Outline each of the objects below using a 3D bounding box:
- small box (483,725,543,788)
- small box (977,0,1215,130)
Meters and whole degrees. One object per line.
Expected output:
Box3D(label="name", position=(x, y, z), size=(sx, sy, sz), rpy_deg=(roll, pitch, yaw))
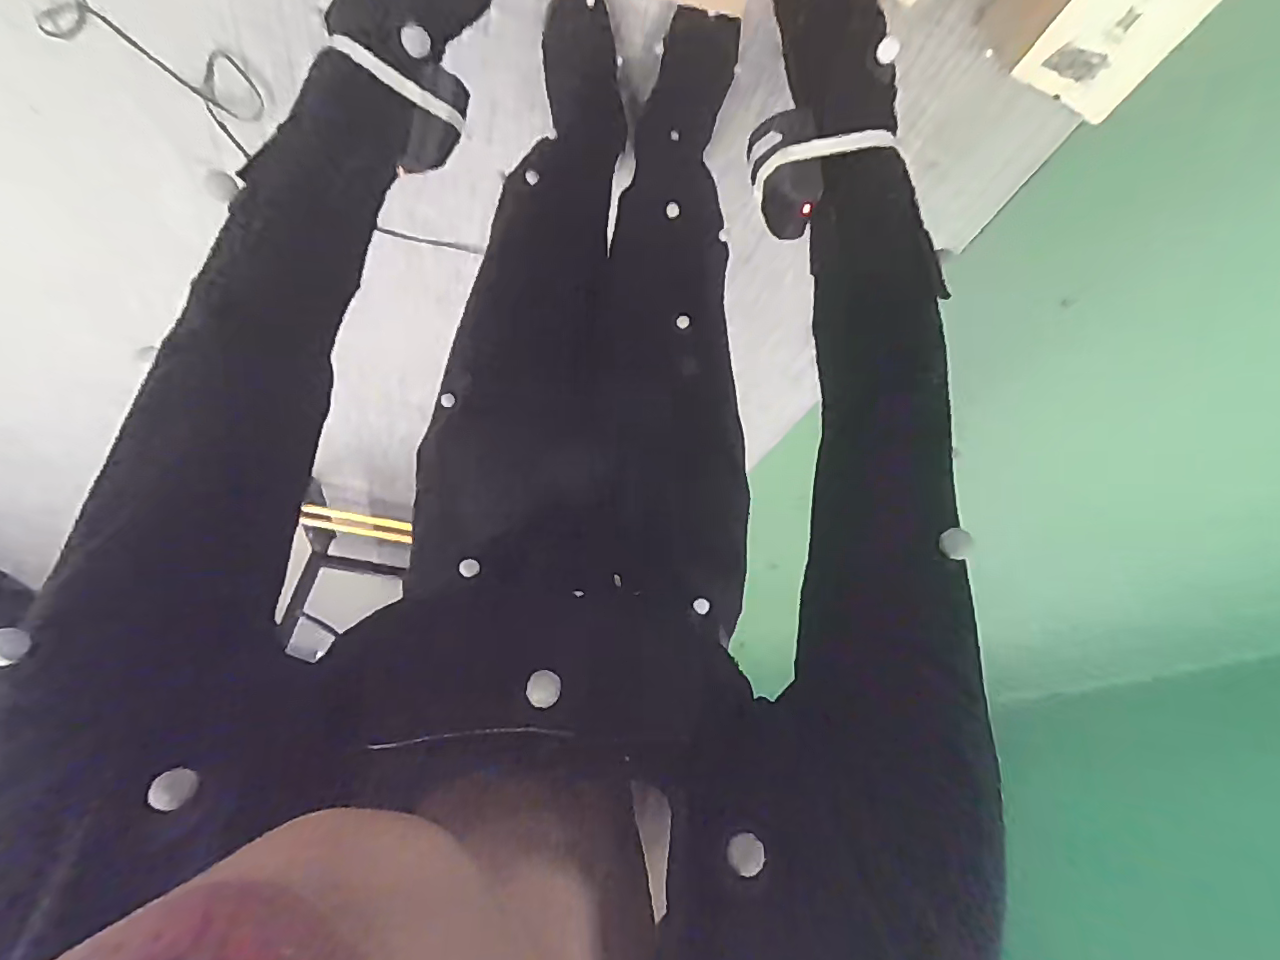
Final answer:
Box3D(label="small box", position=(-0.440, 0.958, 1.872), size=(0.168, 0.176, 0.179), rpy_deg=(12, 146, -12))
Box3D(label="small box", position=(0.590, -0.626, 0.723), size=(0.168, 0.176, 0.179), rpy_deg=(14, 144, -16))
